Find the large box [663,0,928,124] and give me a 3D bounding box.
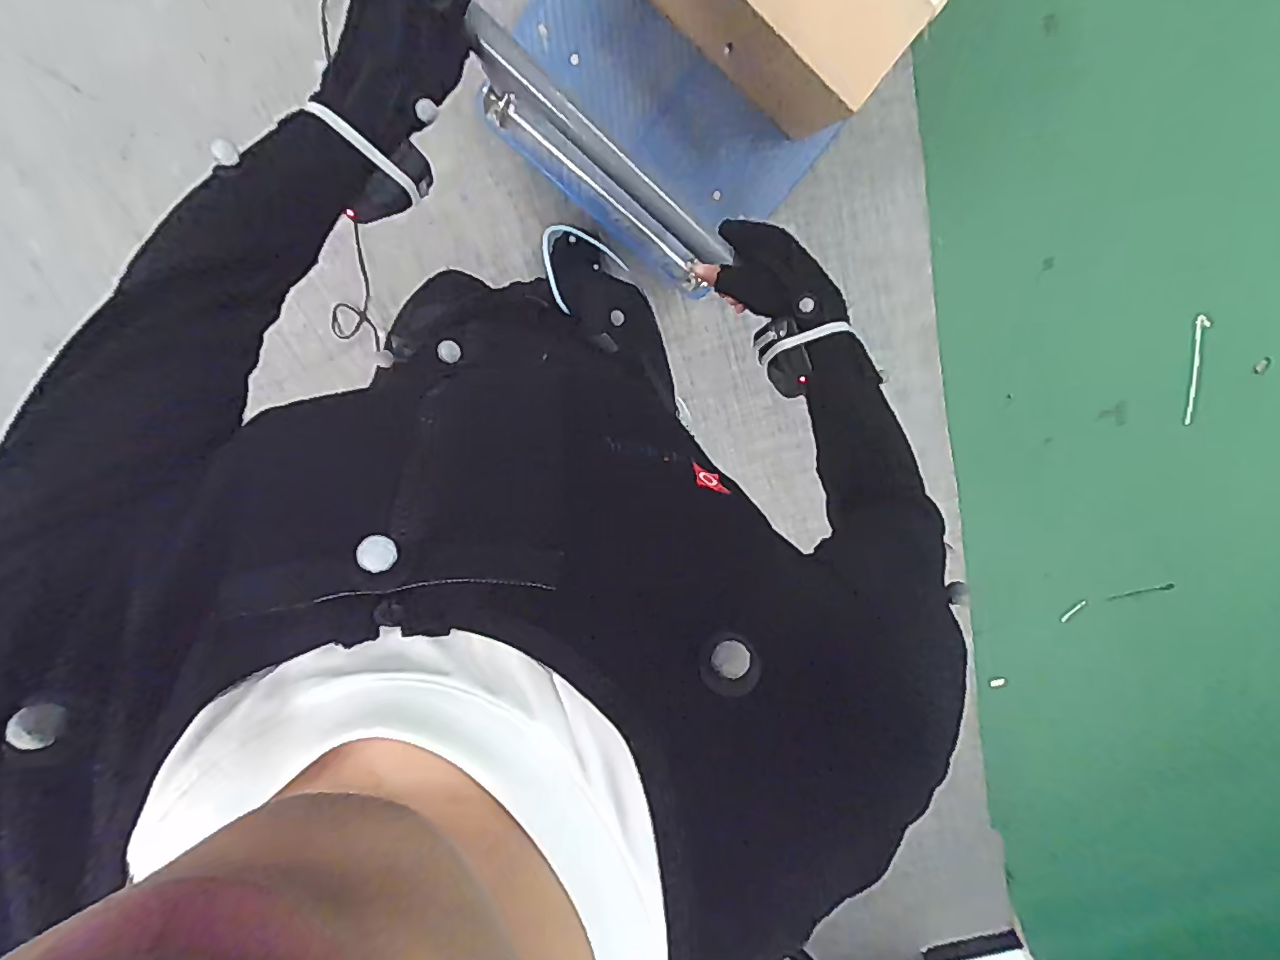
[{"bbox_3d":[0.241,-0.832,0.817,0.408,0.320,0.320,33,110,-16],"label":"large box"}]
